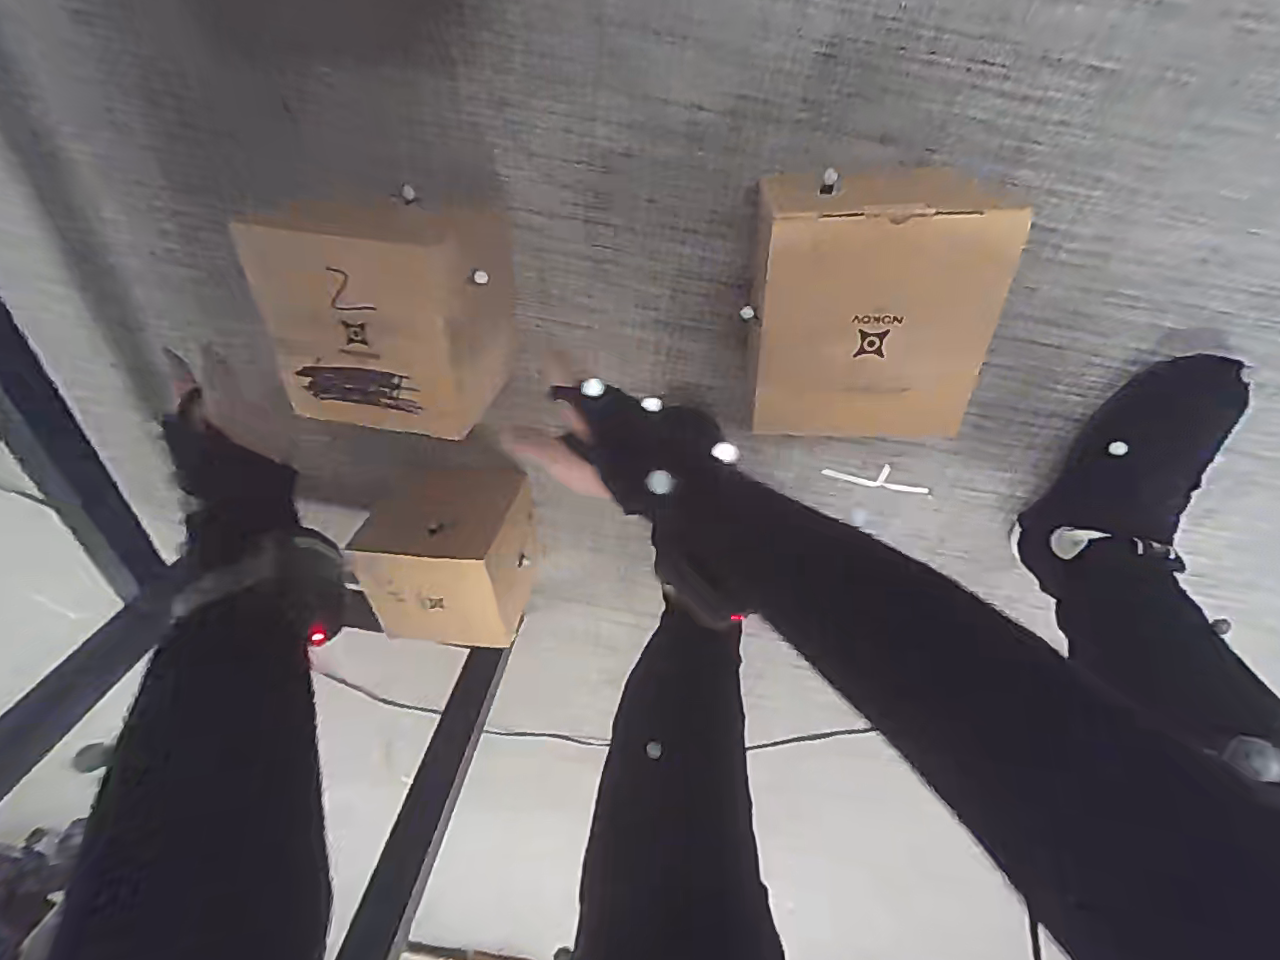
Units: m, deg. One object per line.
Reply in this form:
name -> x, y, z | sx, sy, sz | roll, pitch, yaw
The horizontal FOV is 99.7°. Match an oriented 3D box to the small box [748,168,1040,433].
small box -> 0.183, -0.159, 0.460 | 0.168, 0.176, 0.179 | 3, 127, 7

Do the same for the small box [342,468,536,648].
small box -> -0.244, 0.098, 0.716 | 0.179, 0.176, 0.168 | 4, 127, 7
